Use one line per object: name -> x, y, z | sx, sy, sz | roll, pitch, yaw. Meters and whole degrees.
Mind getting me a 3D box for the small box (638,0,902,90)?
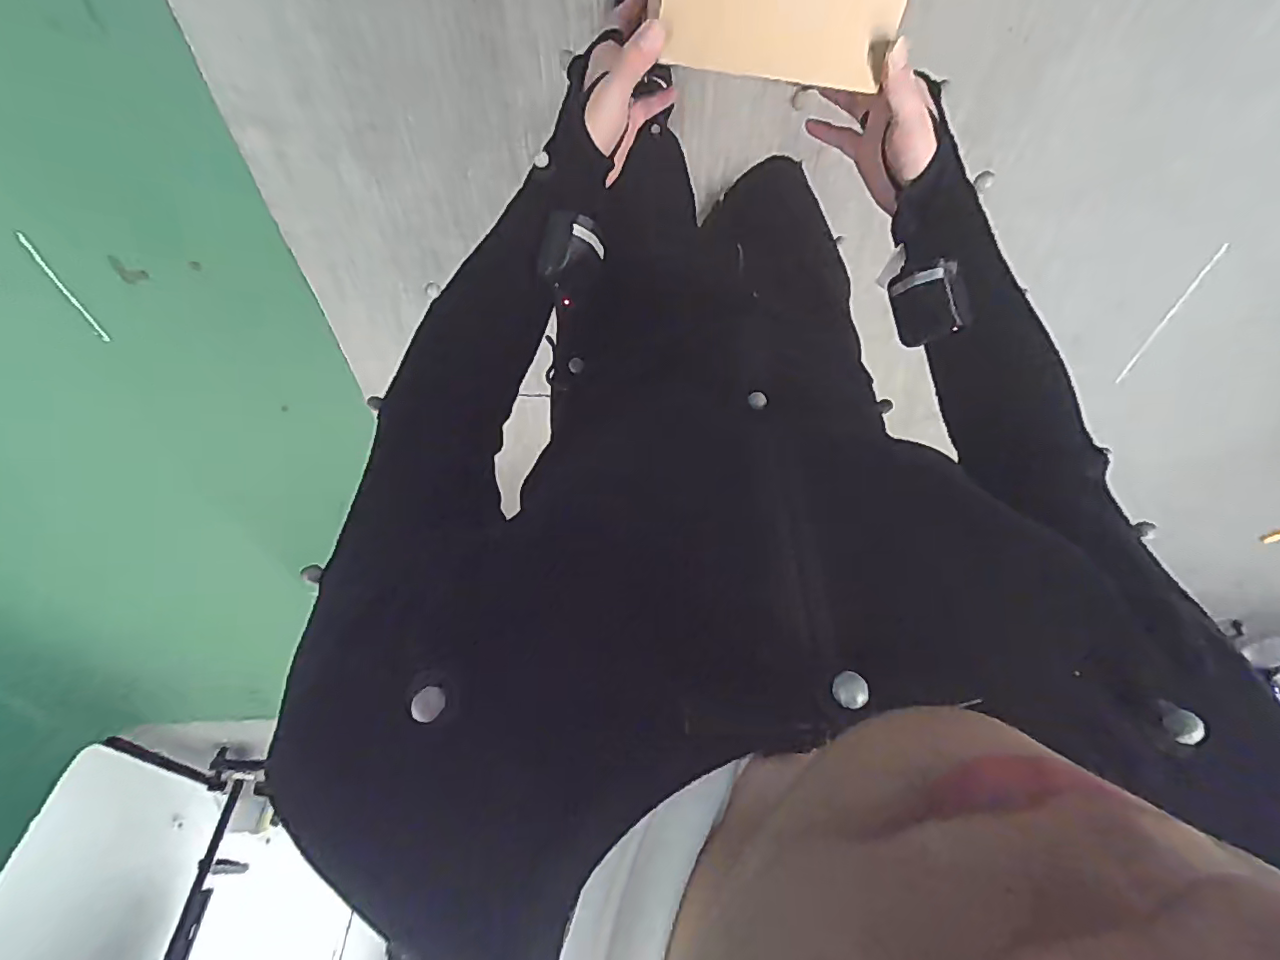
small box -> 0.098, -0.418, 0.412 | 0.179, 0.176, 0.168 | 4, 129, -7
